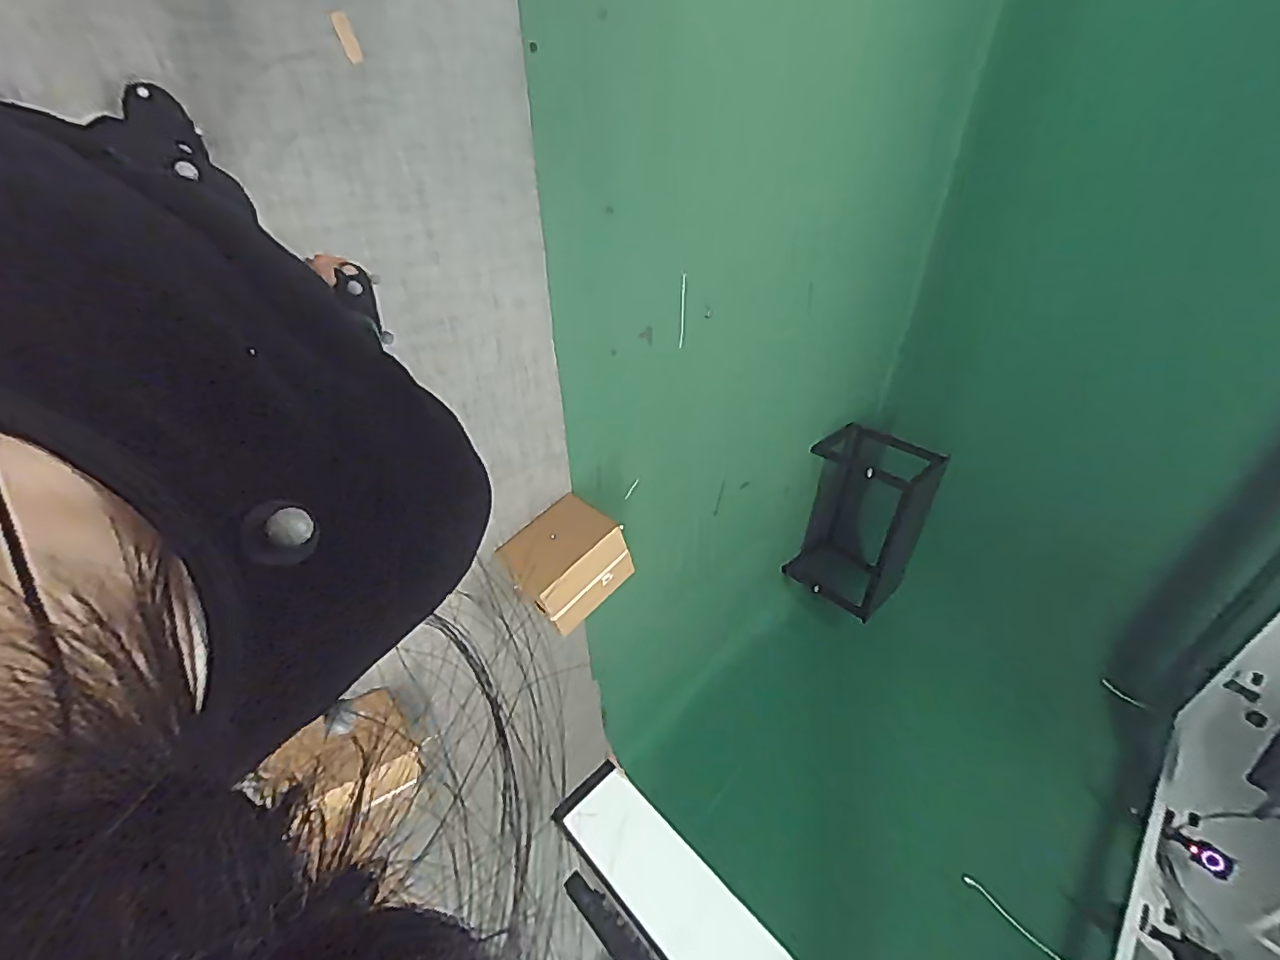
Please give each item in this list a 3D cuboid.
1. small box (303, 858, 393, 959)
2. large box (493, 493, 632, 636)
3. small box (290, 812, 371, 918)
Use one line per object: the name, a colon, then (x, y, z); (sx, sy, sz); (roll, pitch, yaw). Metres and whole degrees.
small box: (-0.813, 1.211, 1.499); (0.179, 0.176, 0.168); (-9, 123, -47)
large box: (-0.303, 0.330, 2.173); (0.408, 0.320, 0.320); (-42, 141, -25)
small box: (-0.919, 1.140, 1.600); (0.168, 0.176, 0.179); (-11, 123, -46)
